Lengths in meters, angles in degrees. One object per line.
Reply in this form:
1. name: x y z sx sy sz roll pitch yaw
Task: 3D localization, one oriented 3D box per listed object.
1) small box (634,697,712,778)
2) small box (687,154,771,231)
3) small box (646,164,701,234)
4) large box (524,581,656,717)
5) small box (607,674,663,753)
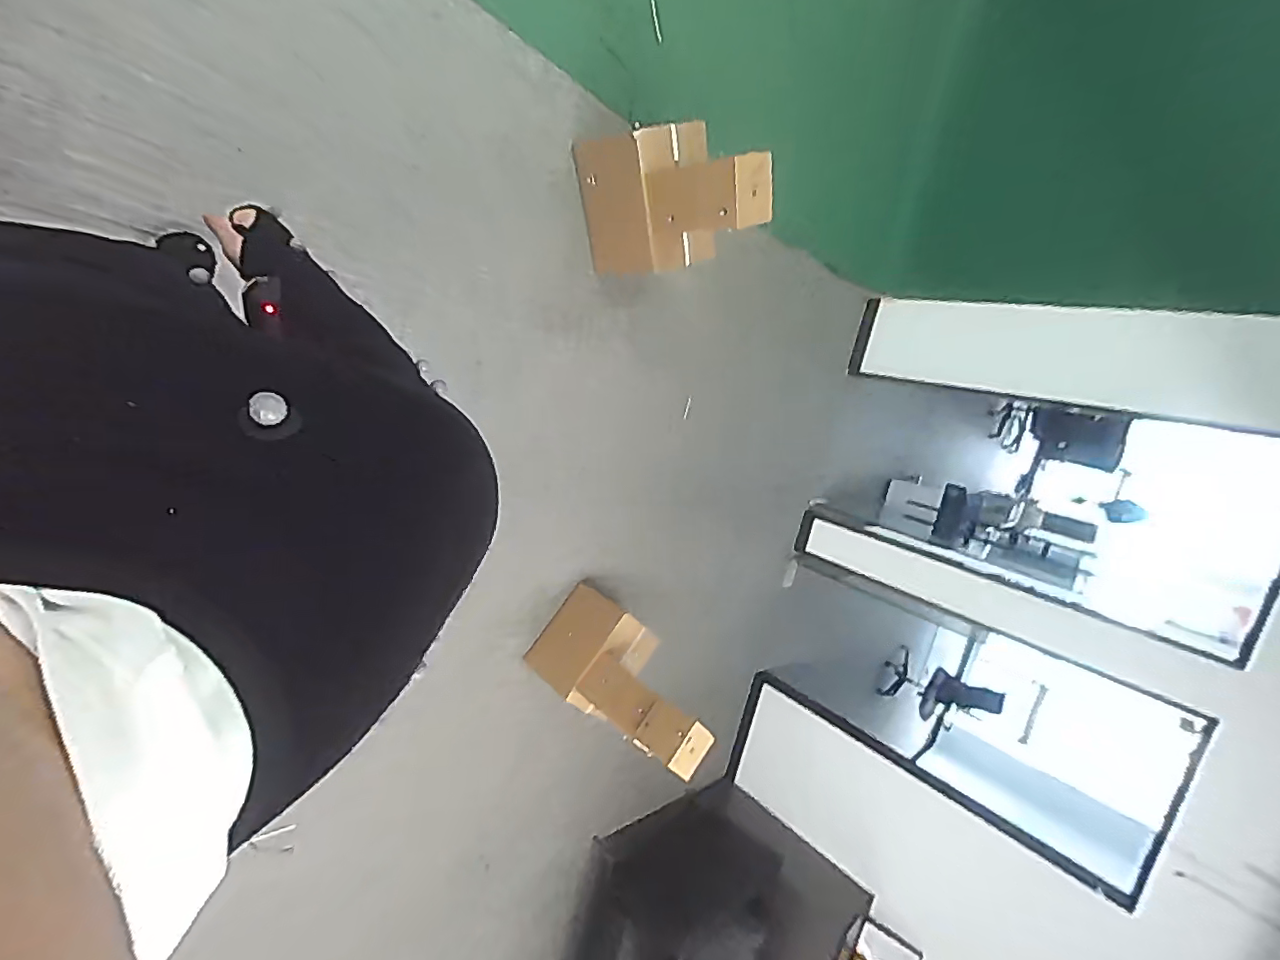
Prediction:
1. small box: 0.113 0.871 1.839 0.168 0.176 0.179 -51 135 -20
2. small box: 0.249 -0.804 1.520 0.168 0.176 0.179 -30 126 -34
3. small box: 0.138 -0.850 1.632 0.168 0.176 0.179 -32 126 -32
4. large box: -0.209 0.711 2.293 0.408 0.320 0.320 -55 137 -15
5. small box: 0.004 0.843 1.959 0.179 0.176 0.168 -52 134 -18
